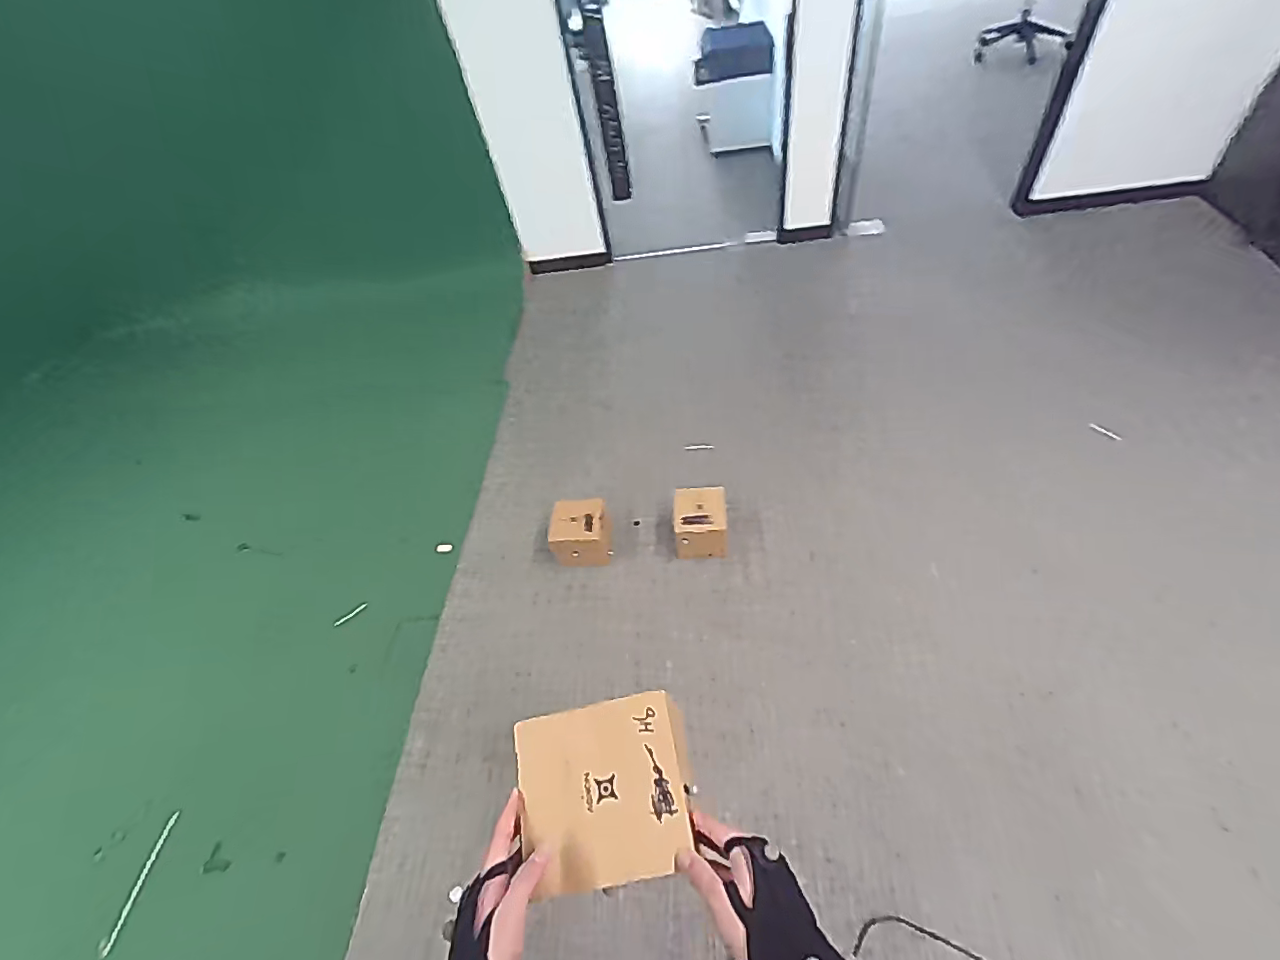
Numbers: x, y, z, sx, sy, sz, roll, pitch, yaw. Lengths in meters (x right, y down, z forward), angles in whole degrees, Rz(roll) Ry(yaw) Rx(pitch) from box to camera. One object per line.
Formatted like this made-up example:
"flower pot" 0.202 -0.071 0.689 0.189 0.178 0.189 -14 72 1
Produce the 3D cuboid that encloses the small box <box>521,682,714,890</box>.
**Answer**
"small box" -0.021 0.345 0.614 0.179 0.176 0.168 -13 58 4

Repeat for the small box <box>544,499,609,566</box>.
"small box" -0.207 0.182 1.837 0.179 0.176 0.168 -4 51 9
